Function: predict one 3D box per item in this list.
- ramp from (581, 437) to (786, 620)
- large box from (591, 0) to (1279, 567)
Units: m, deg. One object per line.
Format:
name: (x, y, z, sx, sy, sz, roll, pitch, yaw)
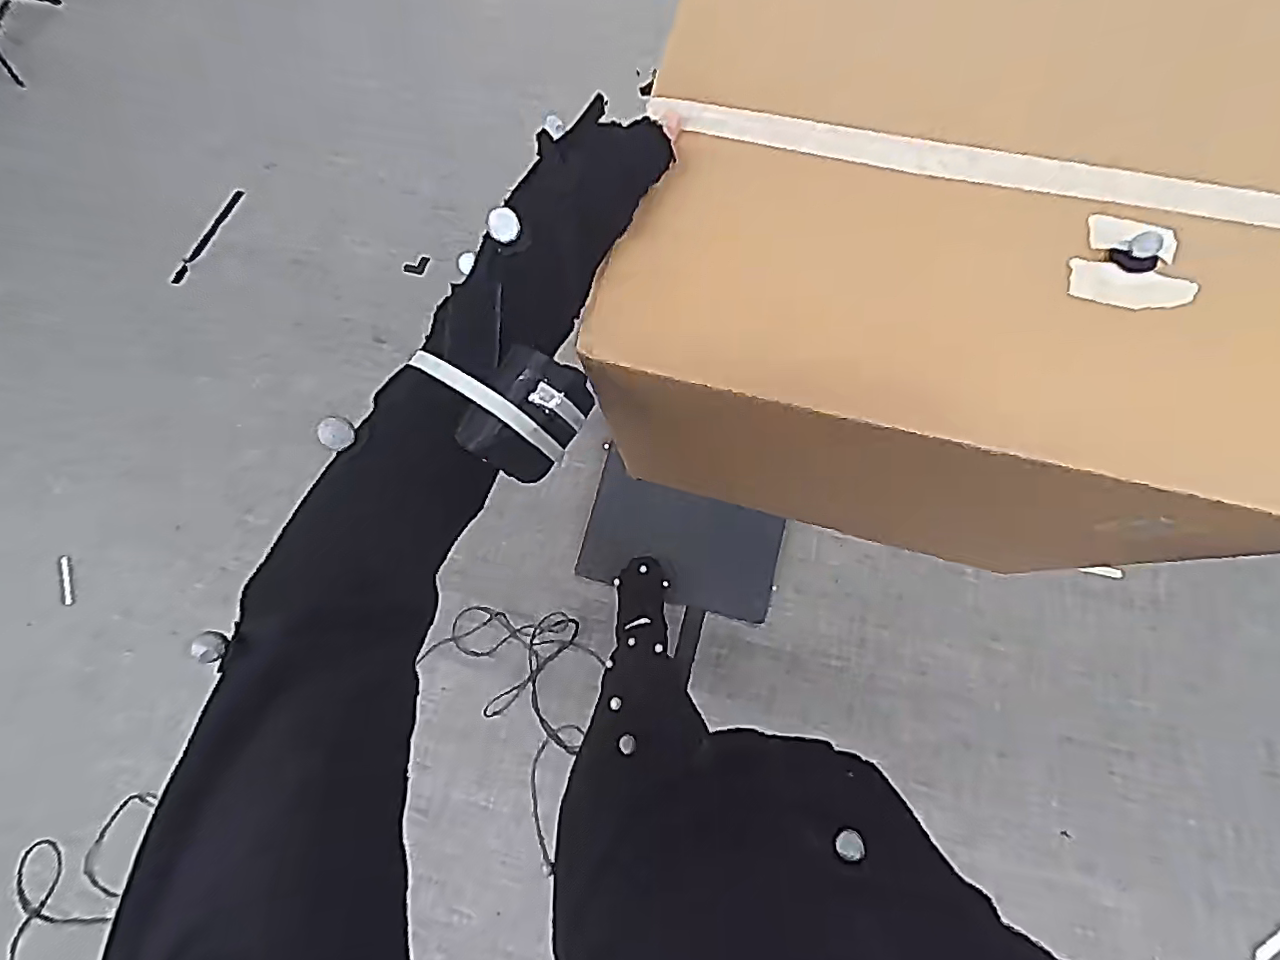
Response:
ramp: (0.199, -0.177, 1.443, 0.509, 0.206, 0.991, 12, 72, 5)
large box: (0.204, -0.129, 0.467, 0.408, 0.320, 0.320, 14, 79, 7)
